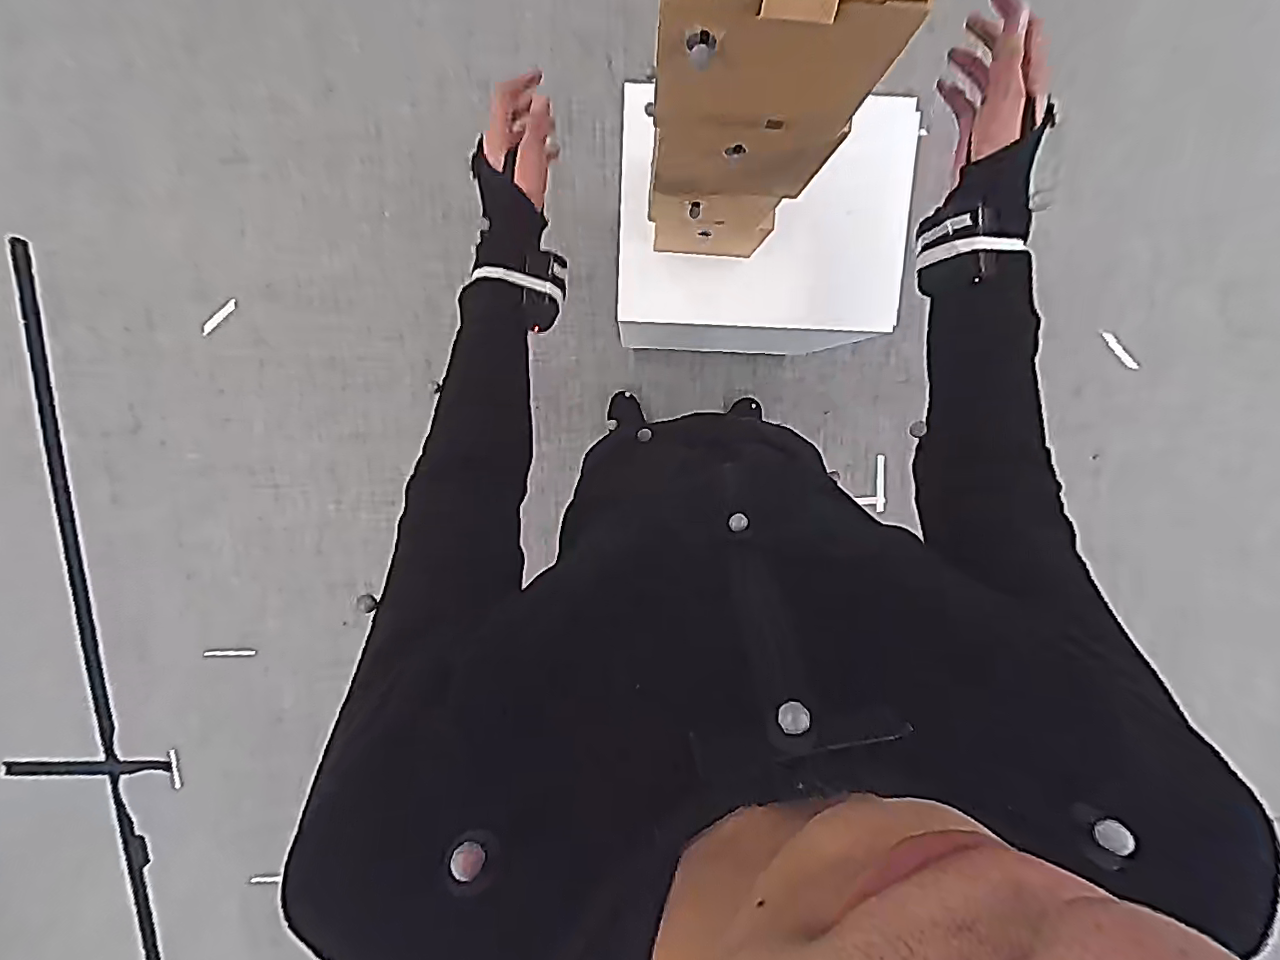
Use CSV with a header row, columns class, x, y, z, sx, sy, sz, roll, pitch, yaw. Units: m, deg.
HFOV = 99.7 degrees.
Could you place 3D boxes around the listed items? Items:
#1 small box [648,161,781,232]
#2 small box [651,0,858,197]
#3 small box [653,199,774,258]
class,x,y,z,sx,sy,sz,roll,pitch,yaw
small box,0.100,-0.445,0.714,0.168,0.176,0.179,5,98,-2
small box,0.102,-0.407,0.553,0.179,0.176,0.168,2,99,-2
small box,0.114,-0.469,0.874,0.179,0.176,0.168,3,99,-3
